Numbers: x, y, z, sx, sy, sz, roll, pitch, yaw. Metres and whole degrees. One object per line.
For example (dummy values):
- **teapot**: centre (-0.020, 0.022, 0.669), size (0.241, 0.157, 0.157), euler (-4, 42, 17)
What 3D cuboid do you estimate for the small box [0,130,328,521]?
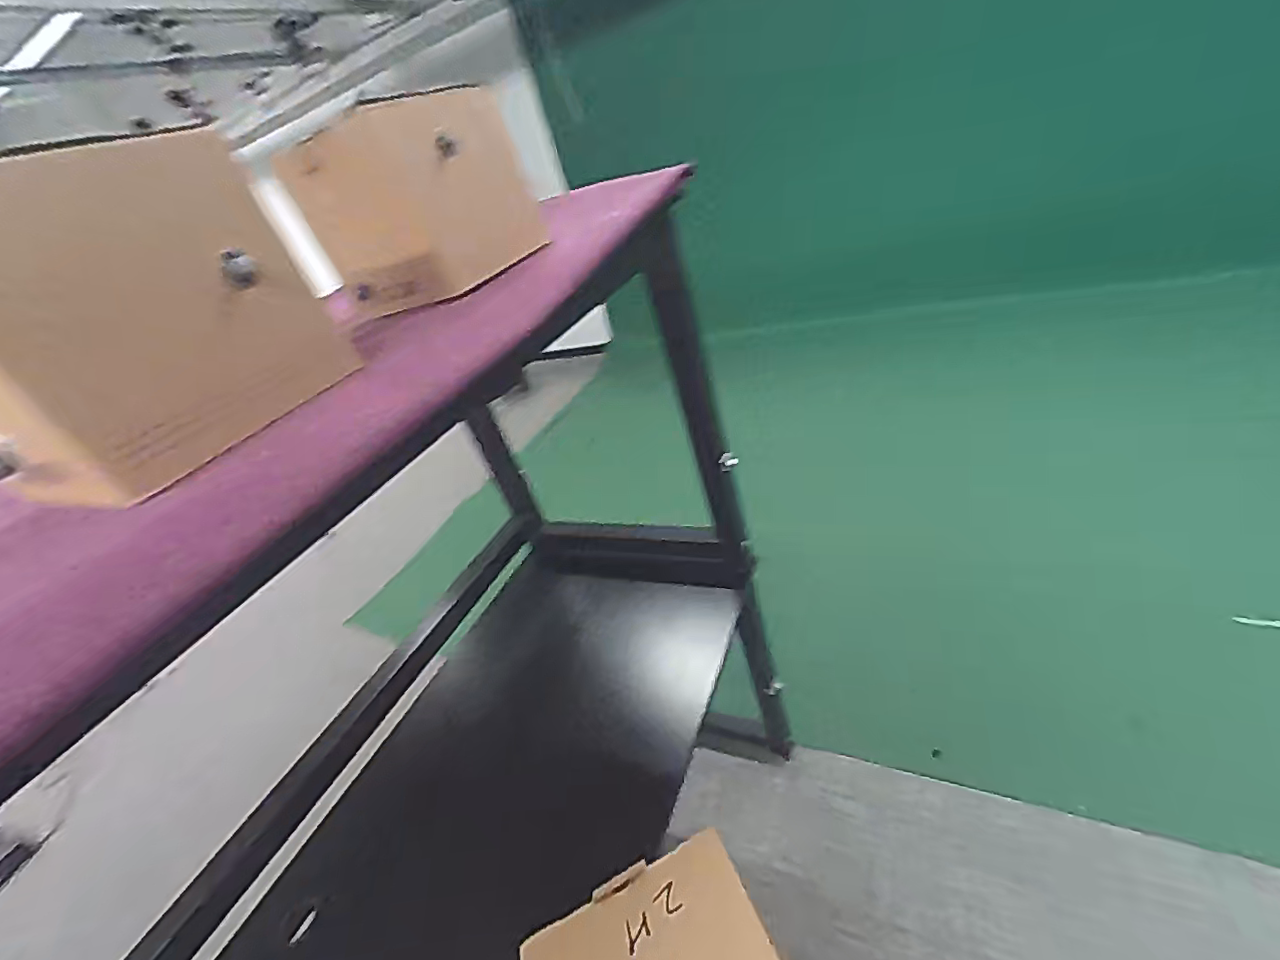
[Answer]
- **small box**: centre (-0.342, -0.094, 0.347), size (0.168, 0.176, 0.179), euler (-1, 38, 27)

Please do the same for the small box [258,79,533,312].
- **small box**: centre (-0.244, -0.293, 0.582), size (0.168, 0.176, 0.179), euler (0, 37, 31)
